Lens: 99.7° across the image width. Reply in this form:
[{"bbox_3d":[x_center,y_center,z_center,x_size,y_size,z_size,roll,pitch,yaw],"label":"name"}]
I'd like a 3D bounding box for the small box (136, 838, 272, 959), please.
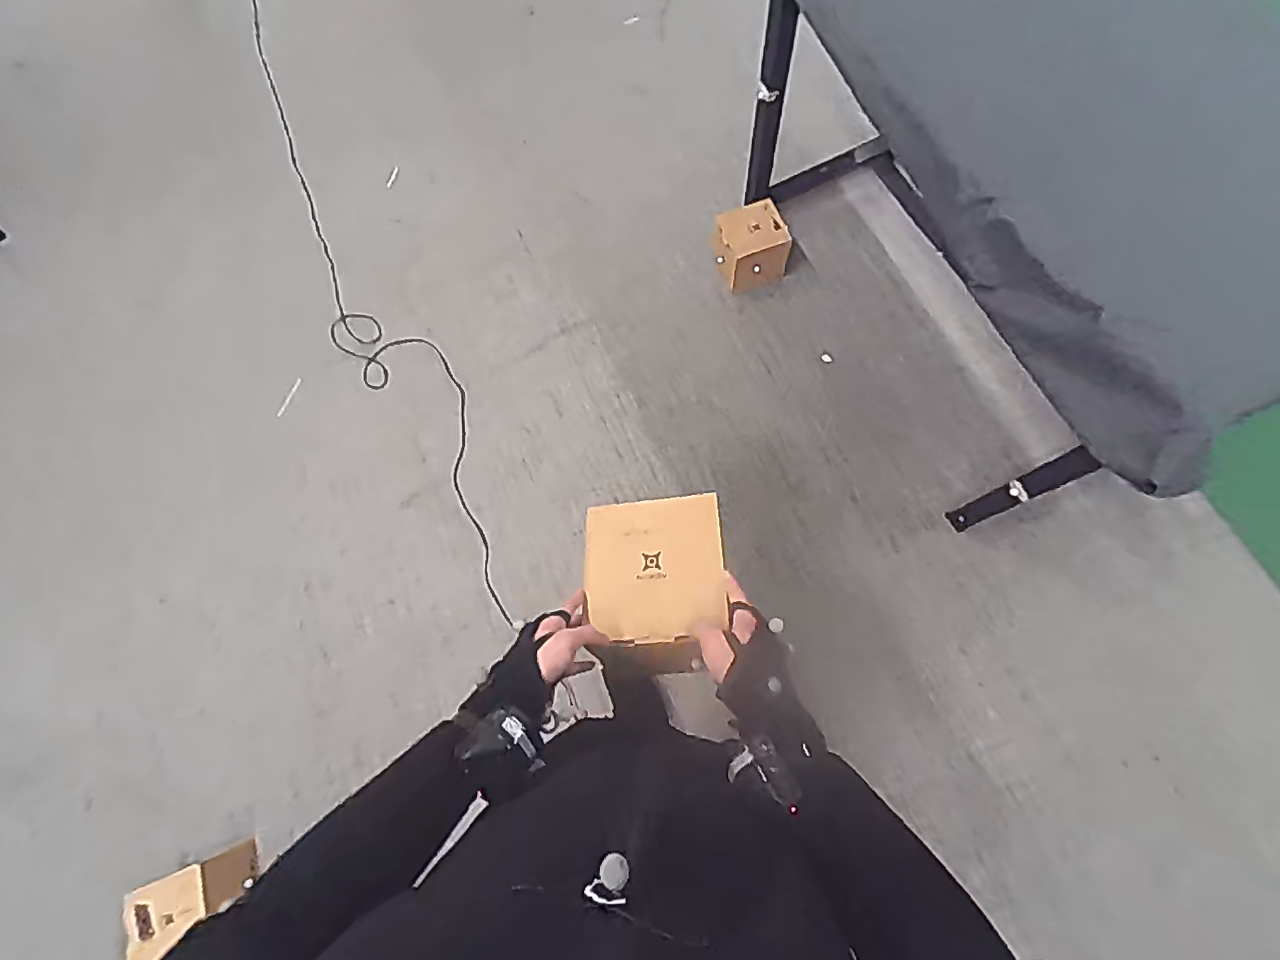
[{"bbox_3d":[-1.002,0.971,1.252,0.179,0.176,0.168,-22,72,-2],"label":"small box"}]

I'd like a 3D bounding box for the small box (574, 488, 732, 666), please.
[{"bbox_3d":[0.023,0.133,0.690,0.168,0.176,0.179,-7,57,10],"label":"small box"}]
